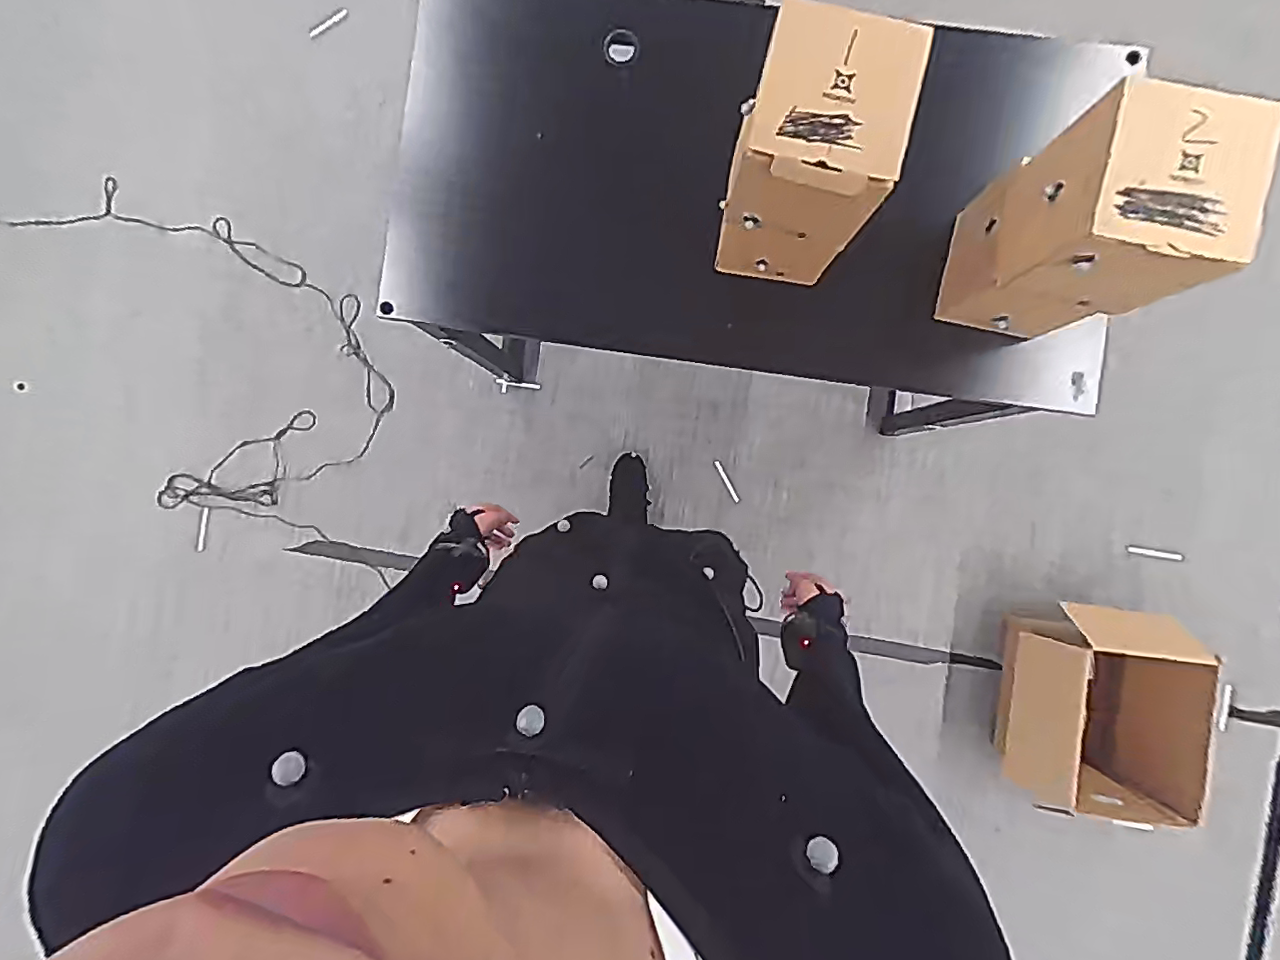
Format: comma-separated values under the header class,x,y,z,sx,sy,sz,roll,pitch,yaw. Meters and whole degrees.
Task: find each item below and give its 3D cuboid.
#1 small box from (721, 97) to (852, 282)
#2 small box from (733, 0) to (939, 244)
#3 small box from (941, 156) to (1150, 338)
class,x,y,z,sx,sy,sz,roll,pitch,yaw
small box,0.221,-0.422,0.811,0.168,0.176,0.179,9,91,2
small box,0.215,-0.412,0.647,0.168,0.176,0.179,15,91,1
small box,0.578,-0.330,0.797,0.168,0.176,0.179,13,91,3
